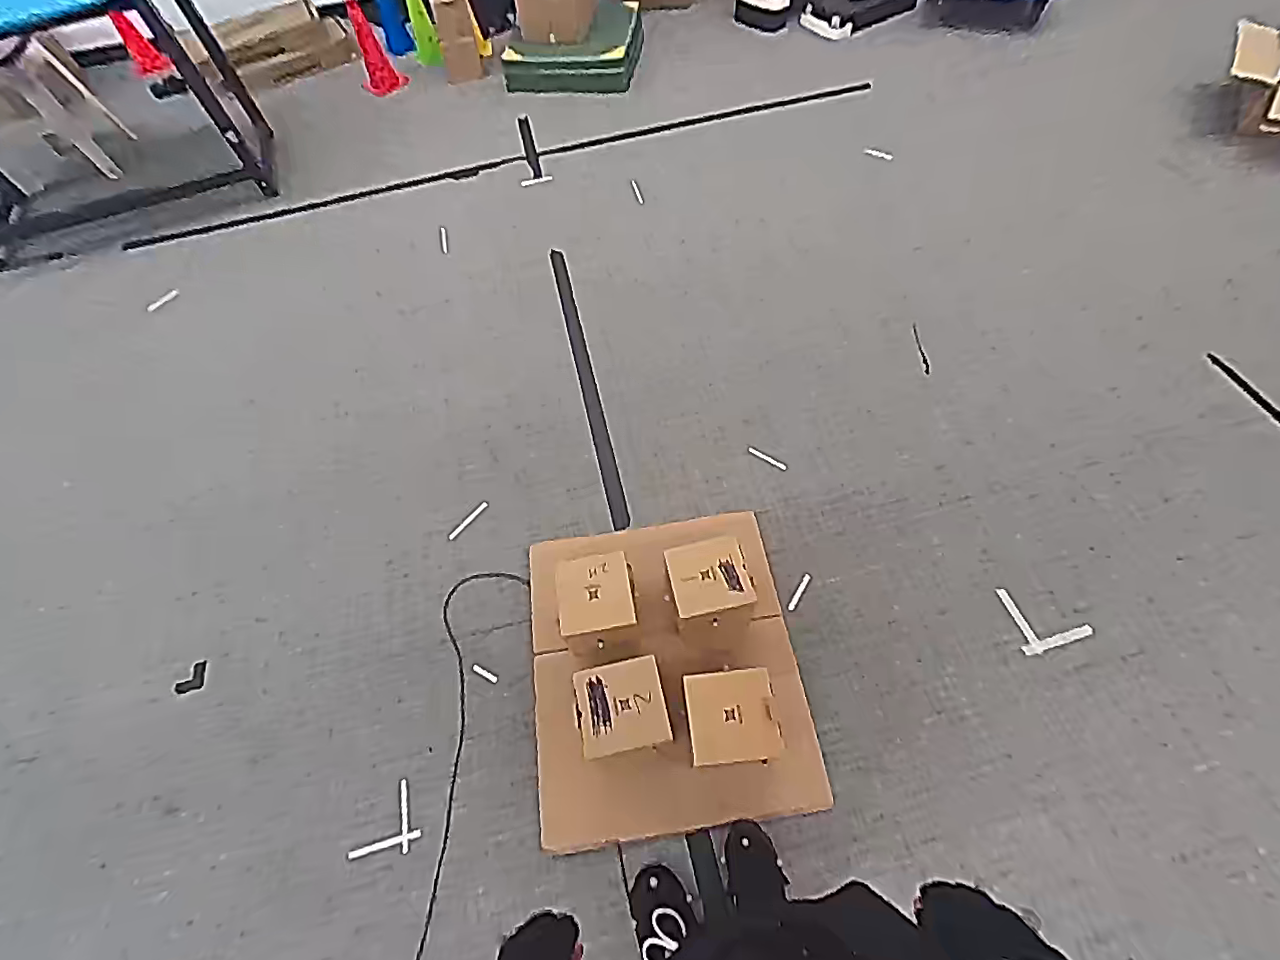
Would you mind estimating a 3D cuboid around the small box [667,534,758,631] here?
[{"bbox_3d":[0.163,0.246,1.276,0.179,0.176,0.168,-11,61,-2],"label":"small box"}]

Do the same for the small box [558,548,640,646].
[{"bbox_3d":[-0.093,0.283,1.274,0.168,0.176,0.179,-9,60,-2],"label":"small box"}]
